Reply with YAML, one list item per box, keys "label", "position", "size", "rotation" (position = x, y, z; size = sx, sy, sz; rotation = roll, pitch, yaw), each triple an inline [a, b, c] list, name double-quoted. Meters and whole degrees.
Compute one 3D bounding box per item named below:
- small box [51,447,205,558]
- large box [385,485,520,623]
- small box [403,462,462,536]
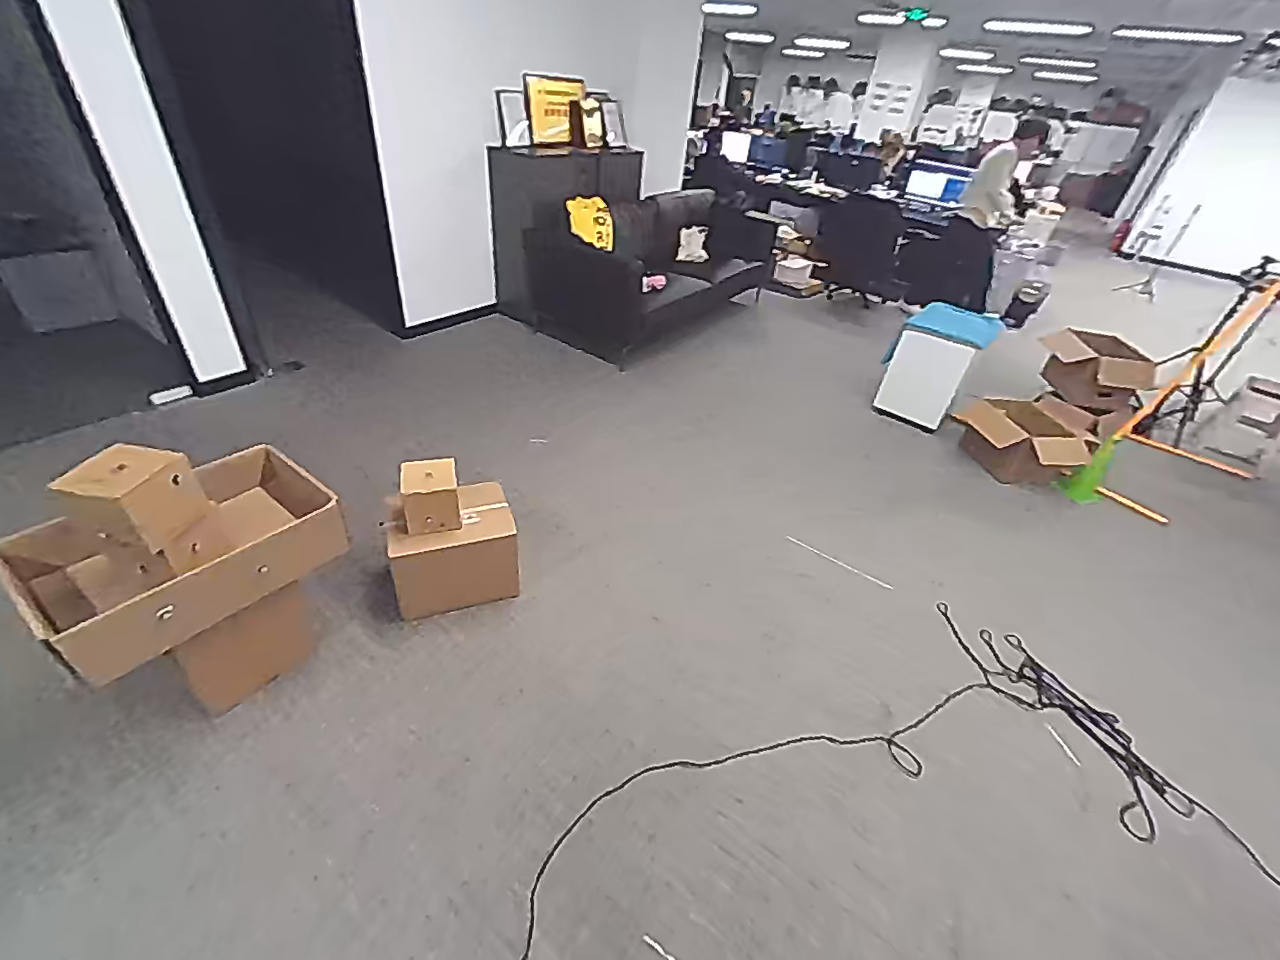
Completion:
- label: "small box"
  position: [-1.152, 0.050, 1.241]
  size: [0.168, 0.176, 0.179]
  rotation: [9, 37, 3]
- label: "large box"
  position: [-0.660, 0.255, 1.922]
  size: [0.408, 0.320, 0.320]
  rotation: [-9, 39, -23]
- label: "small box"
  position: [-0.678, 0.060, 1.770]
  size: [0.168, 0.176, 0.179]
  rotation: [-7, 37, -19]
